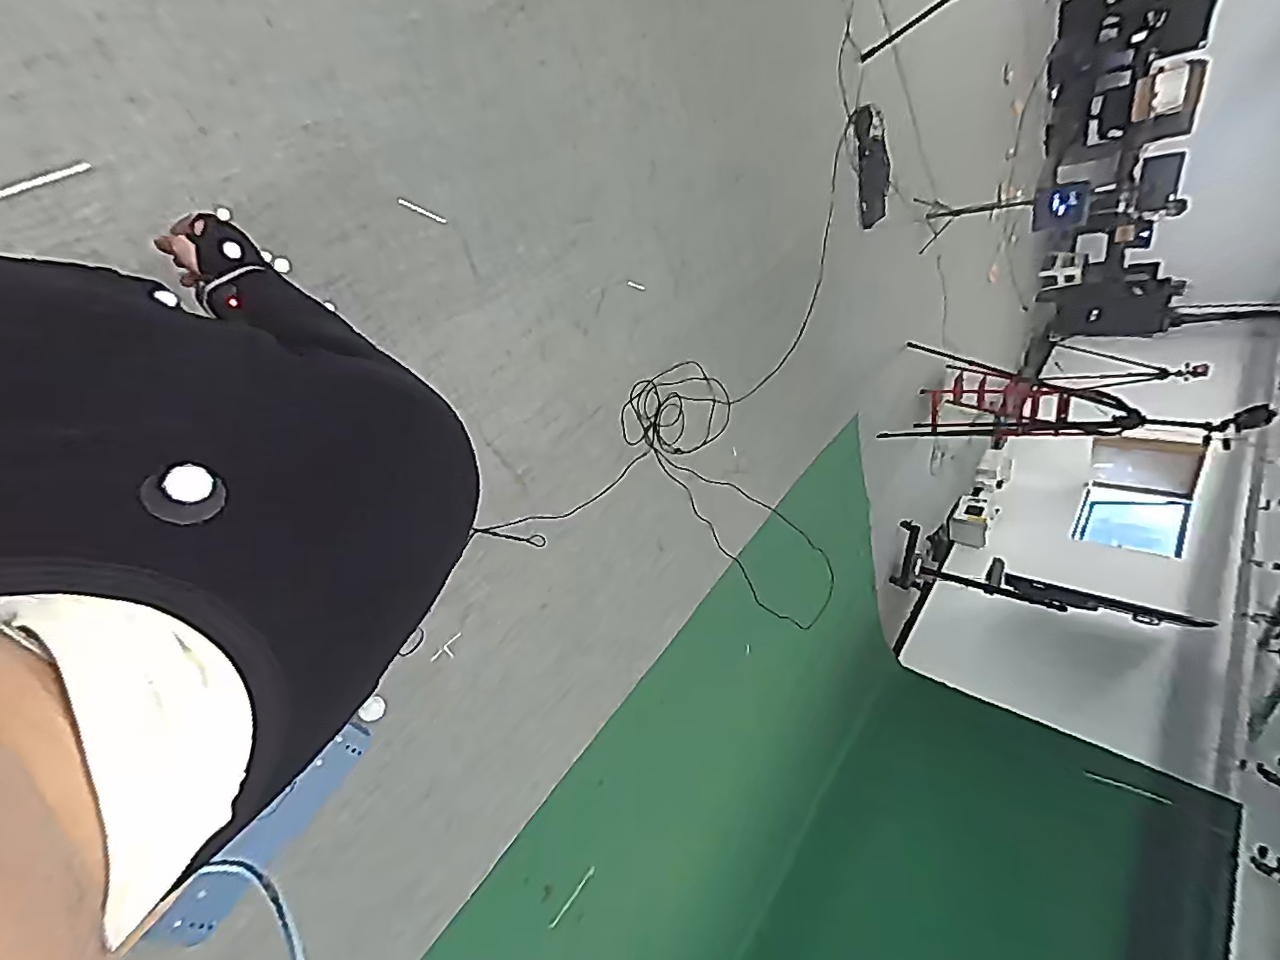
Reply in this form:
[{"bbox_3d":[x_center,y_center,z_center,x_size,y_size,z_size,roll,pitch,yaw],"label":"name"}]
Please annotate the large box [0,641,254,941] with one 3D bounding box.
[{"bbox_3d":[-1.067,0.576,1.024,0.320,0.320,0.408,-51,134,-25],"label":"large box"}]
